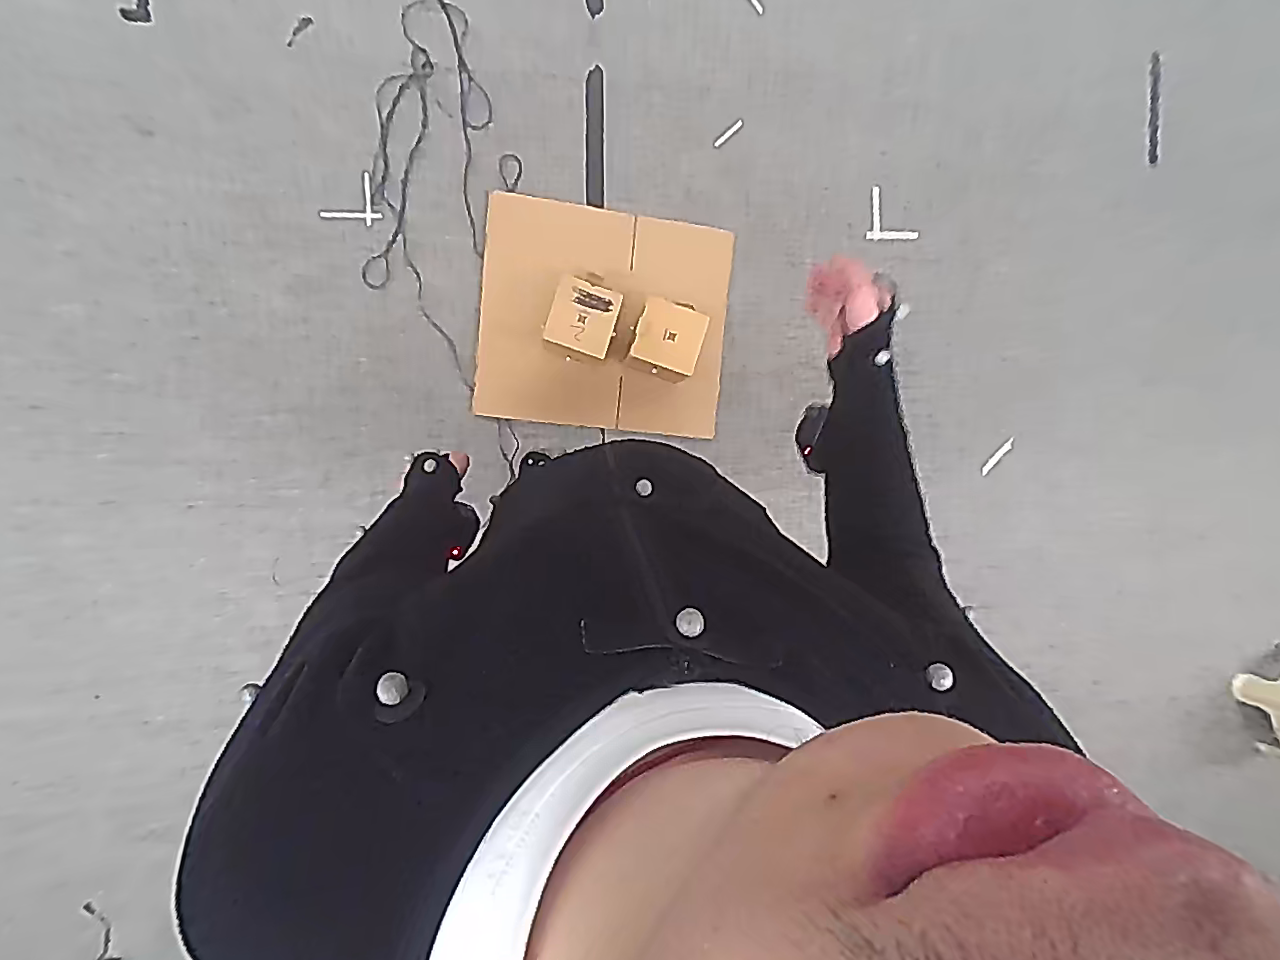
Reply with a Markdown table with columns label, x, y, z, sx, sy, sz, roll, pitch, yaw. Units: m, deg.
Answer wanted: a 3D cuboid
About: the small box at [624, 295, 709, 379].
| label | x | y | z | sx | sy | sz | roll | pitch | yaw |
| --- | --- | --- | --- | --- | --- | --- | --- | --- | --- |
| small box | 0.068 | -0.386 | 1.495 | 0.179 | 0.176 | 0.168 | 17 | 91 | -9 |
